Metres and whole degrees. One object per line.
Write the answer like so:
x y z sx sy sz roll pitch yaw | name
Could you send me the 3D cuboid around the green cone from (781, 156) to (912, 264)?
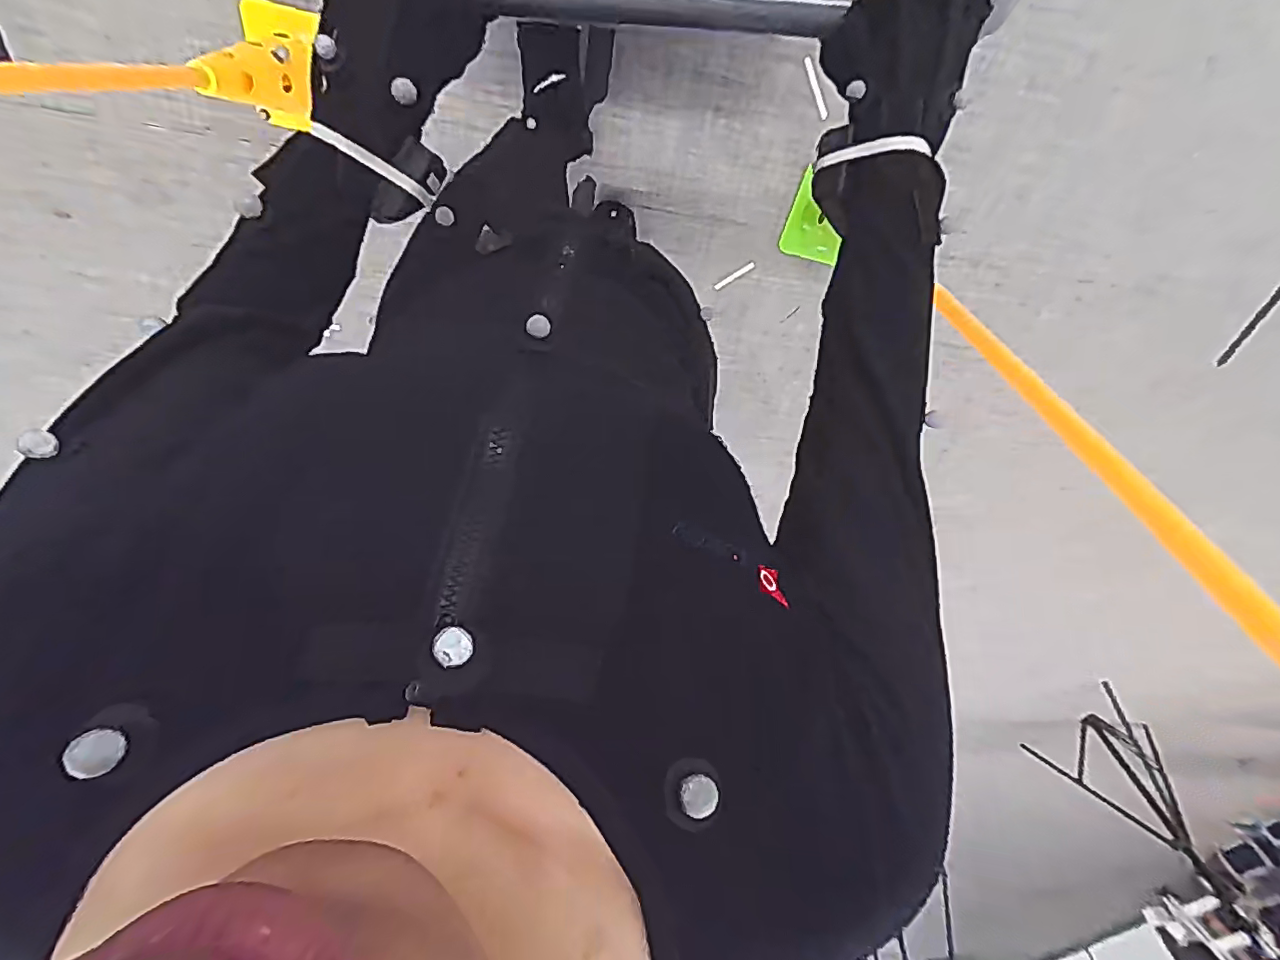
0.459 -0.518 1.124 0.202 0.368 0.200 9 126 -11 | green cone
